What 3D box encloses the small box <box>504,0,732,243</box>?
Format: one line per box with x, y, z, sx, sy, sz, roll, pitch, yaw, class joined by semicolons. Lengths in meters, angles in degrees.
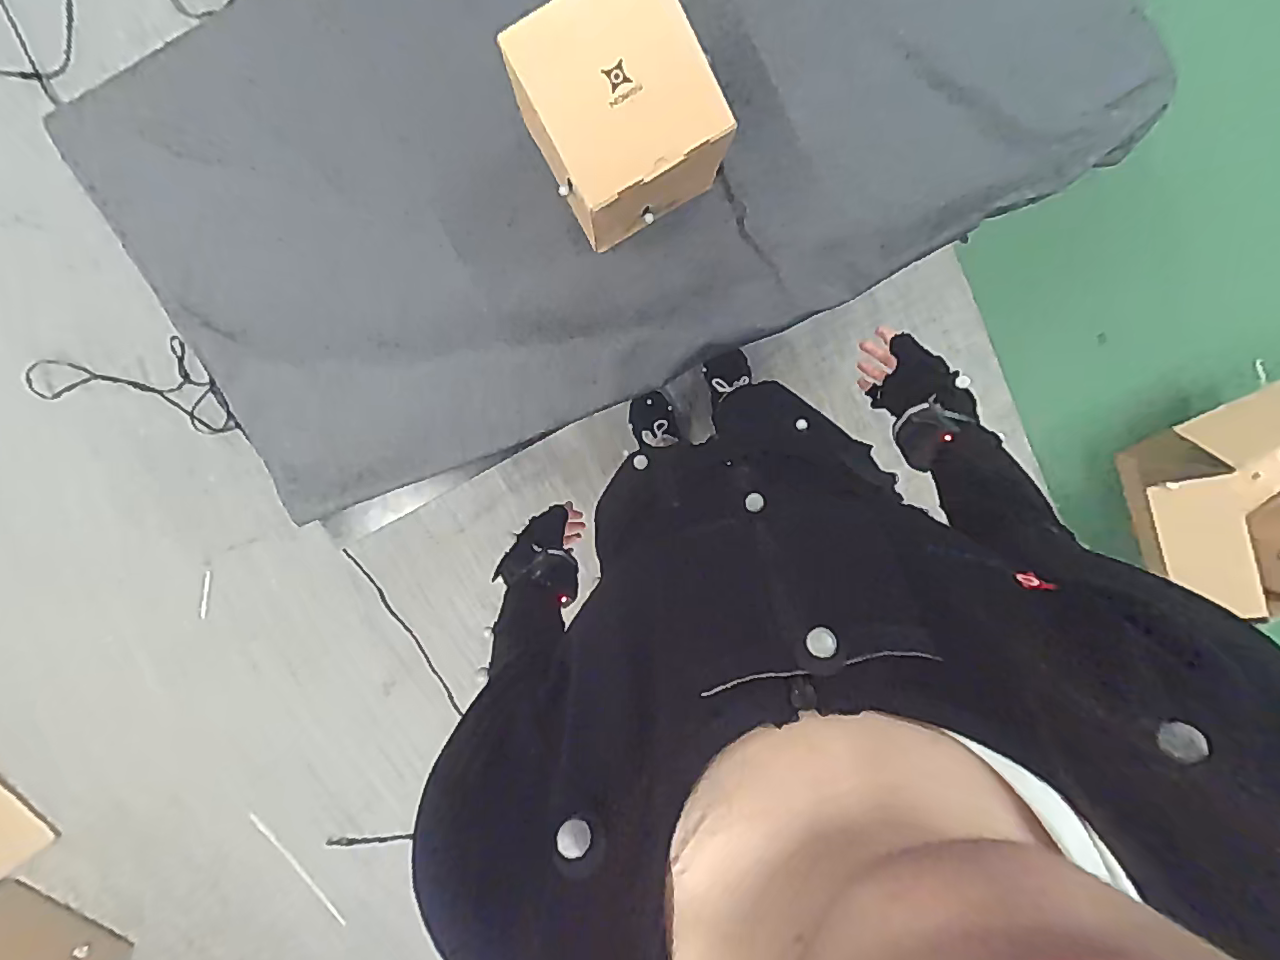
-0.024;-0.397;0.600;0.168;0.176;0.179;-30;101;3;small box
